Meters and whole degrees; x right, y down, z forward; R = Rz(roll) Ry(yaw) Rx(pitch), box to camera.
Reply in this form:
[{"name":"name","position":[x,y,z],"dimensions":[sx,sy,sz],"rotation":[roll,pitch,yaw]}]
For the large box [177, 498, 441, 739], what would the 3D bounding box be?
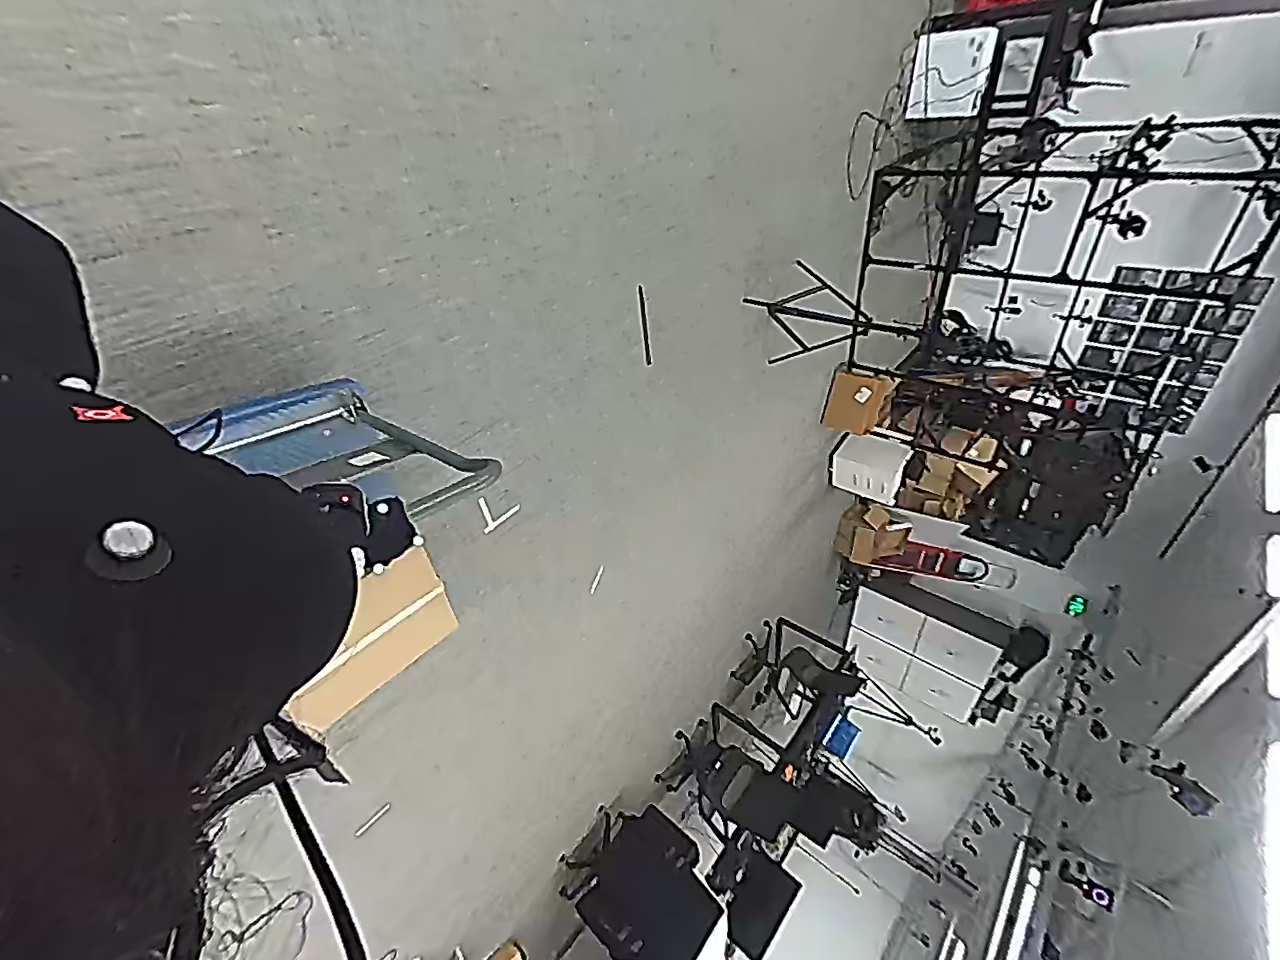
[{"name":"large box","position":[-0.775,0.308,1.311],"dimensions":[0.408,0.320,0.320],"rotation":[-37,135,-36]}]
